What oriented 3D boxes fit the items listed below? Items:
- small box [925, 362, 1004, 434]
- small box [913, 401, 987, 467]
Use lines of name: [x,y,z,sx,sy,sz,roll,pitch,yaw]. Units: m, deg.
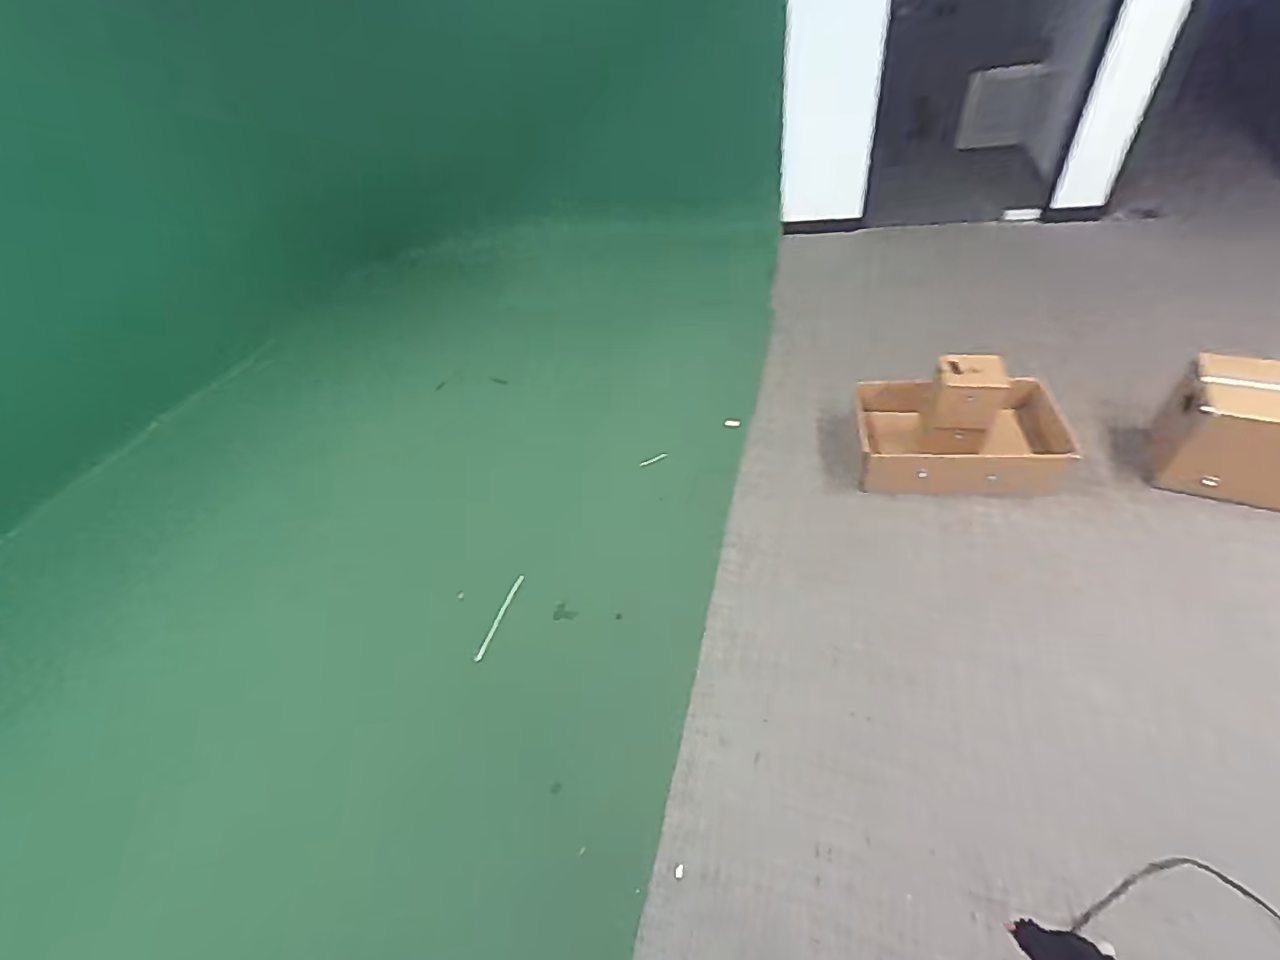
small box: [1.035,-0.264,1.742,0.179,0.176,0.168,5,47,14]
small box: [1.060,-0.159,1.867,0.179,0.176,0.168,3,47,12]
